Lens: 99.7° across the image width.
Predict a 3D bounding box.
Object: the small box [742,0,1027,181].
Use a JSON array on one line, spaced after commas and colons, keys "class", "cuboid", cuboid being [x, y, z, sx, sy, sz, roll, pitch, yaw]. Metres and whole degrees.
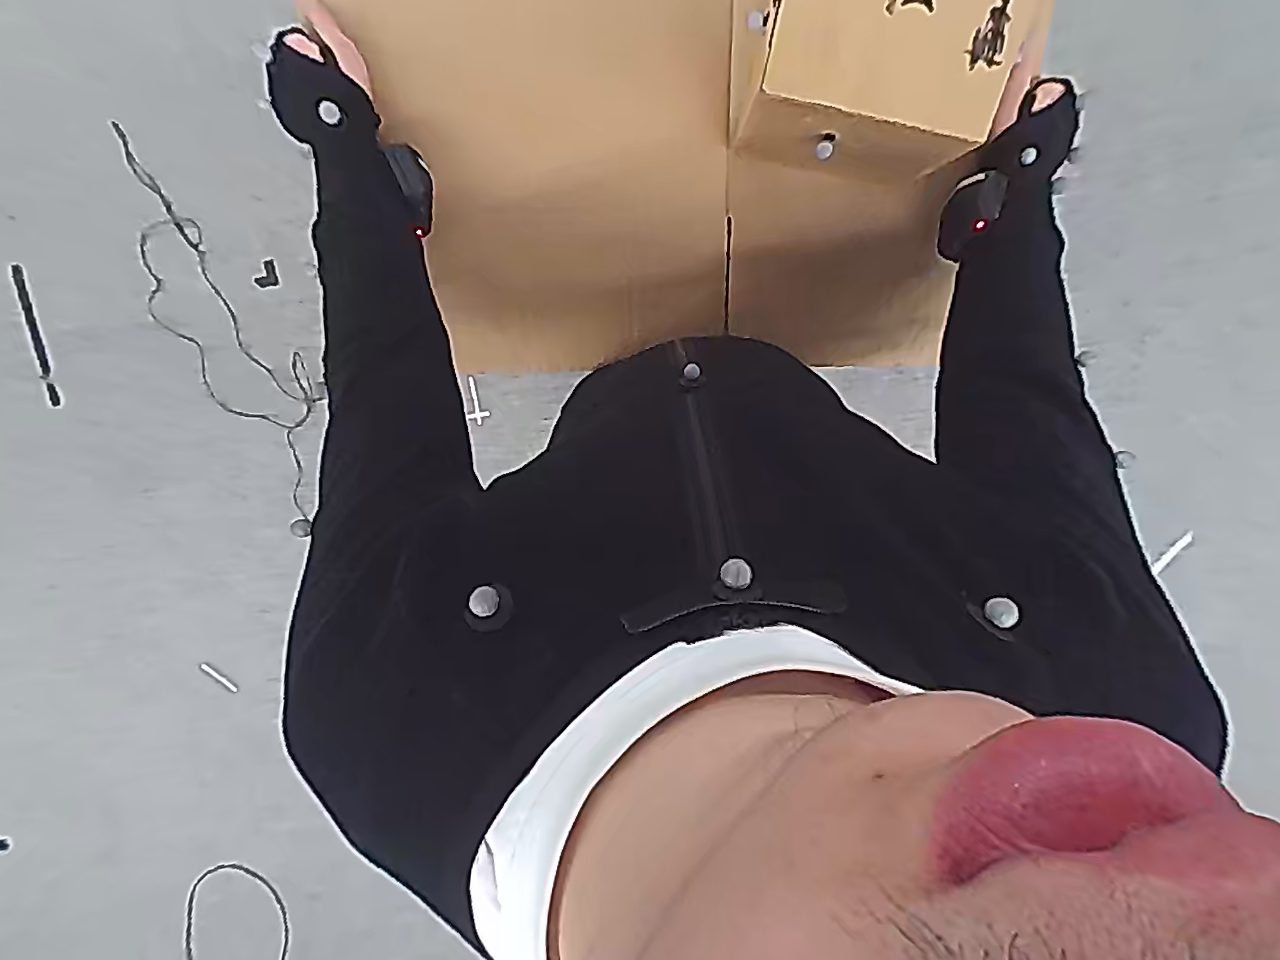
[{"class": "small box", "cuboid": [0.194, -0.375, 0.461, 0.179, 0.176, 0.168, 12, 108, 0]}]
